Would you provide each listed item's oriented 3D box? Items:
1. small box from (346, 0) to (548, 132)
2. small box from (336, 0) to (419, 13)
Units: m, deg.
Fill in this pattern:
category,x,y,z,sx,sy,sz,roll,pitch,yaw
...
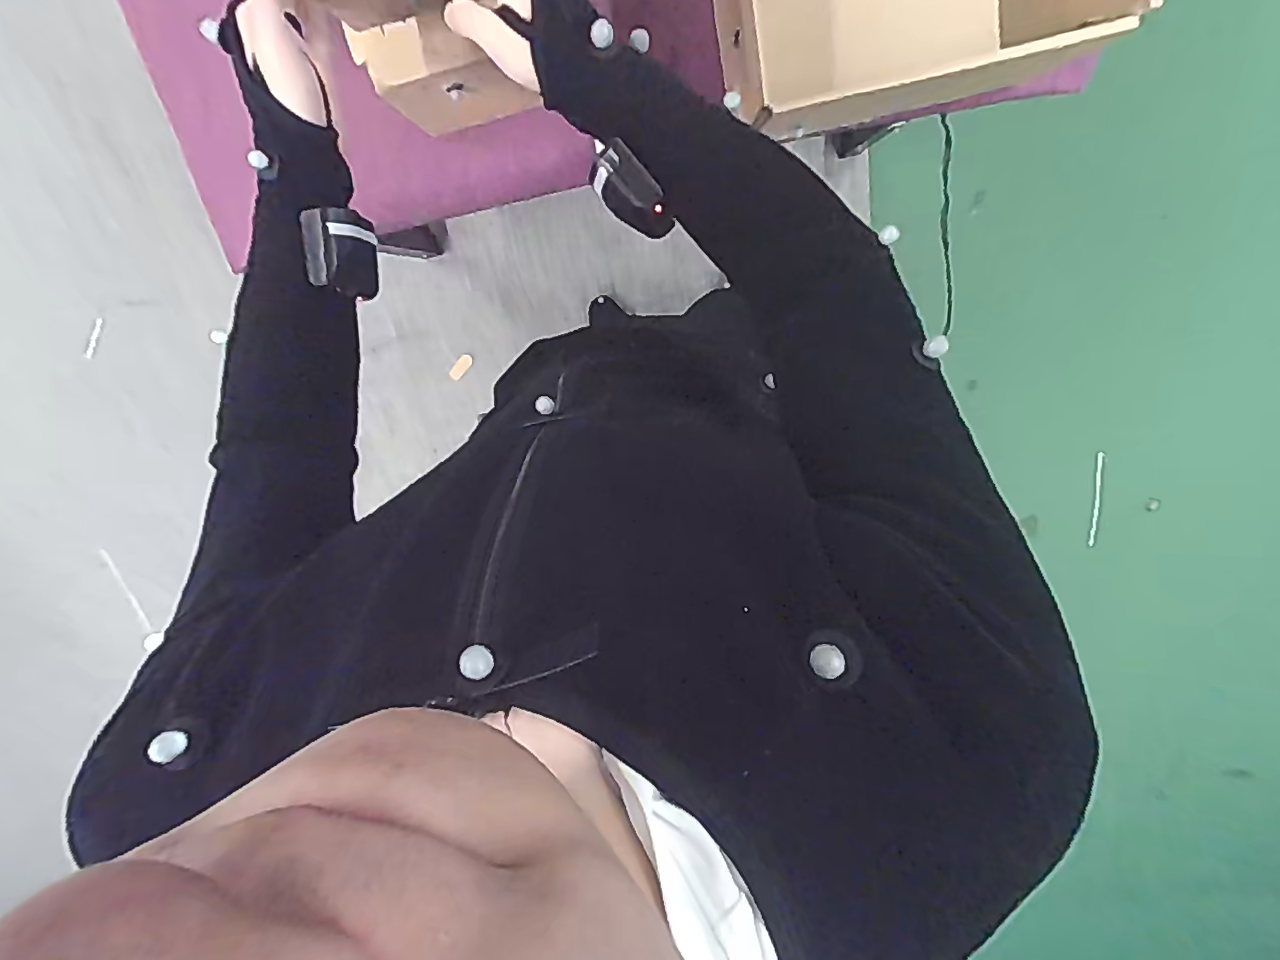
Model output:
category,x,y,z,sx,sy,sz,roll,pitch,yaw
small box,-0.223,-0.539,0.633,0.179,0.176,0.168,-13,108,4
small box,-0.208,-0.493,0.406,0.168,0.176,0.179,-13,115,2
